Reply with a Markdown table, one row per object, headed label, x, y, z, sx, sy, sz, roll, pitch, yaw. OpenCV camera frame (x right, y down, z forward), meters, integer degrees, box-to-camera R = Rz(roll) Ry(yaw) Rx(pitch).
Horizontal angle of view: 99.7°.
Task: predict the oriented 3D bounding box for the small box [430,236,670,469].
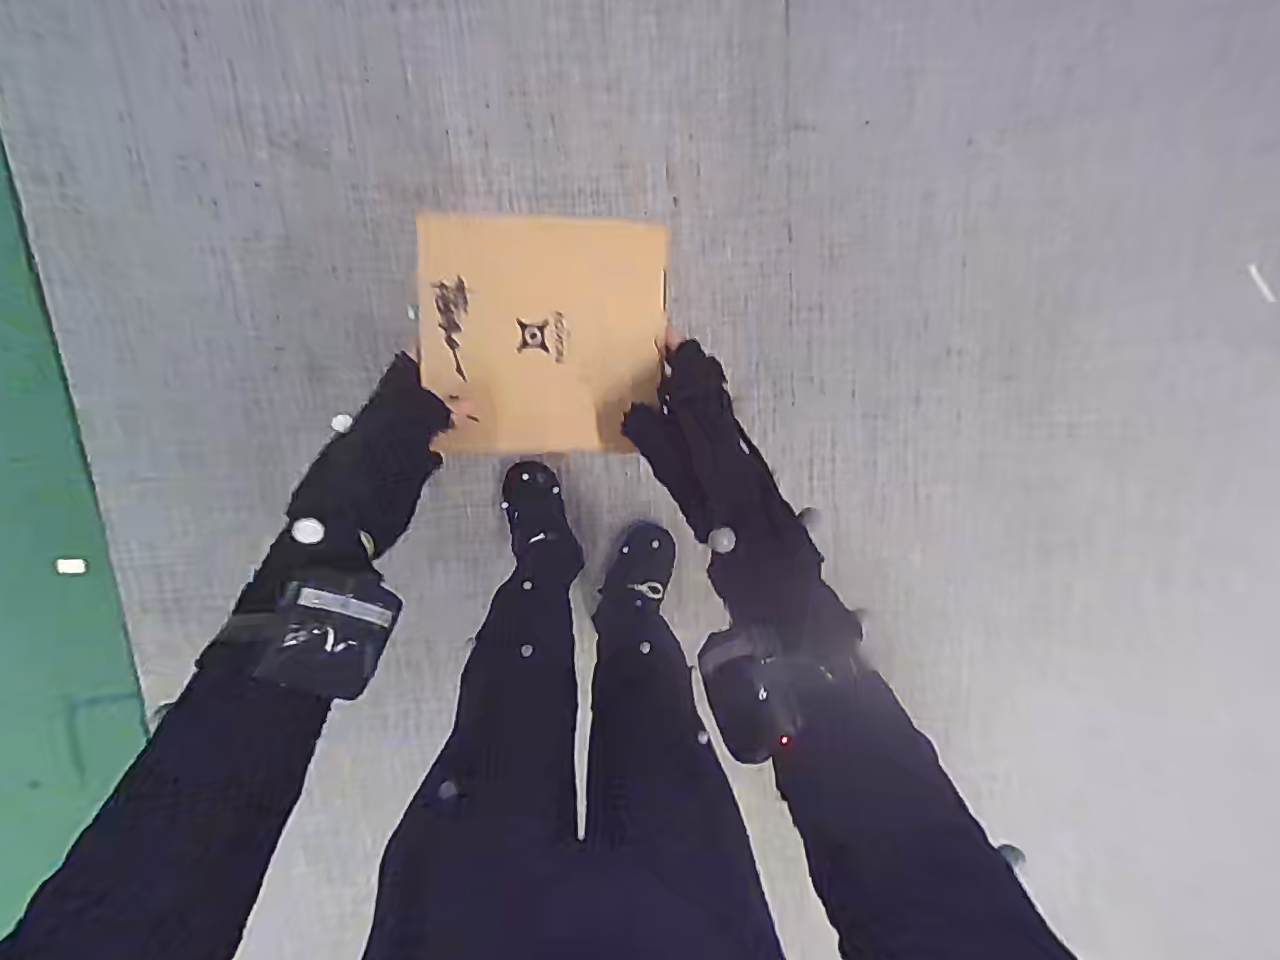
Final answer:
| label | x | y | z | sx | sy | sz | roll | pitch | yaw |
| --- | --- | --- | --- | --- | --- | --- | --- | --- | --- |
| small box | -0.075 | -0.101 | 0.482 | 0.179 | 0.176 | 0.168 | 1 | 97 | -6 |
